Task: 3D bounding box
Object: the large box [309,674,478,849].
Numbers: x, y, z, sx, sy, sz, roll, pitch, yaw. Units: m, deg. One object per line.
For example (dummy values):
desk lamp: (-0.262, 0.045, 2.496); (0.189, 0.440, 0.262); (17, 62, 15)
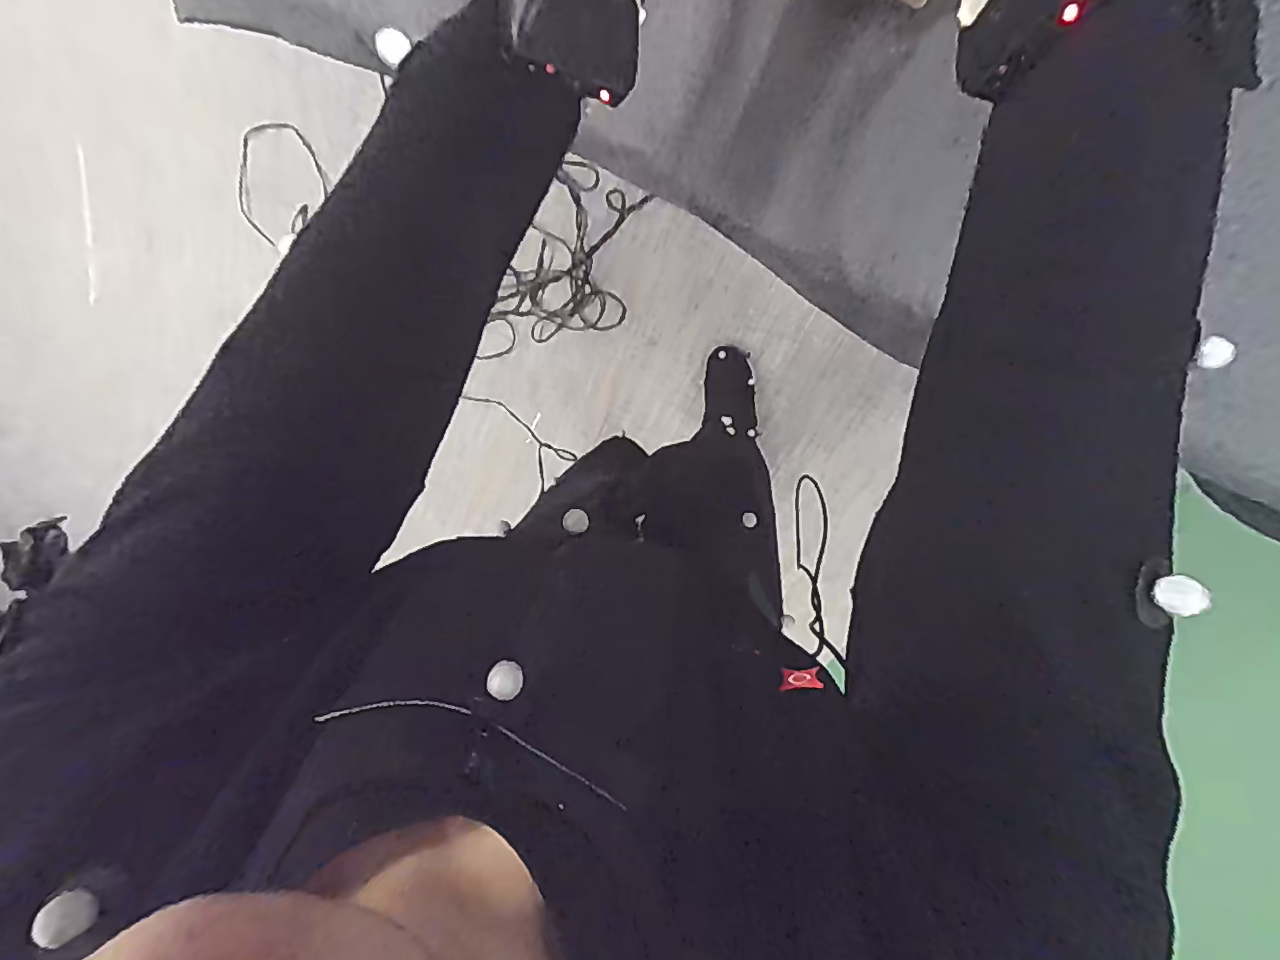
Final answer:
large box: (-0.853, 0.976, 1.897); (0.408, 0.320, 0.320); (34, 116, 3)
